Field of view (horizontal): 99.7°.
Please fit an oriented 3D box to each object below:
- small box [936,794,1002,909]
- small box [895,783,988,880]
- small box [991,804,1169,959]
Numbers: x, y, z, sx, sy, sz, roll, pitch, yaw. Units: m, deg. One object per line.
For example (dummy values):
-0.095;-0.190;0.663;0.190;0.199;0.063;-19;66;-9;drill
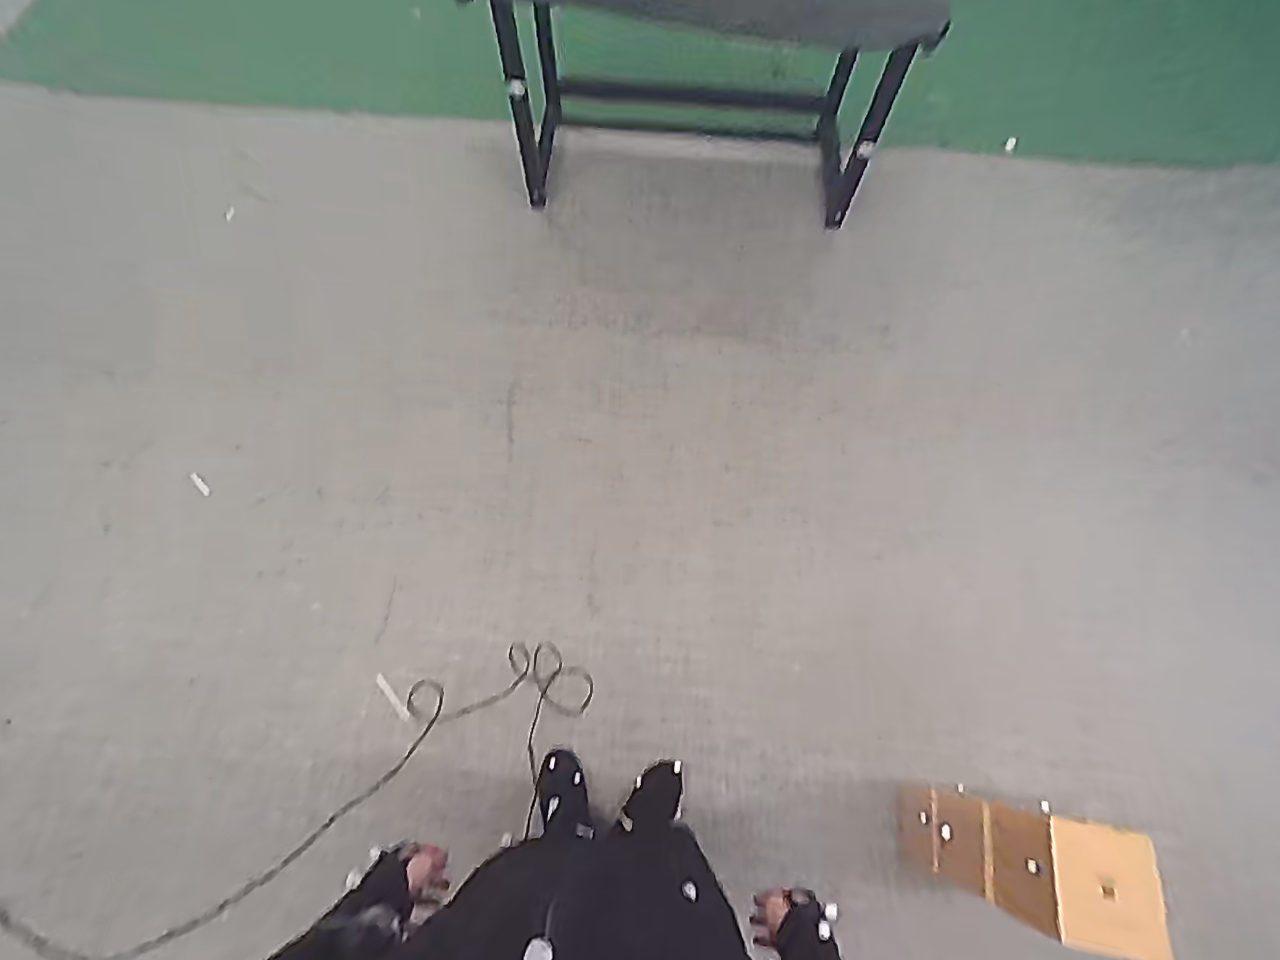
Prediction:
0.719;0.740;1.073;0.179;0.176;0.168;11;67;4;small box
0.706;0.801;1.225;0.179;0.176;0.168;10;68;2;small box
0.732;0.676;0.925;0.168;0.176;0.179;9;68;4;small box
